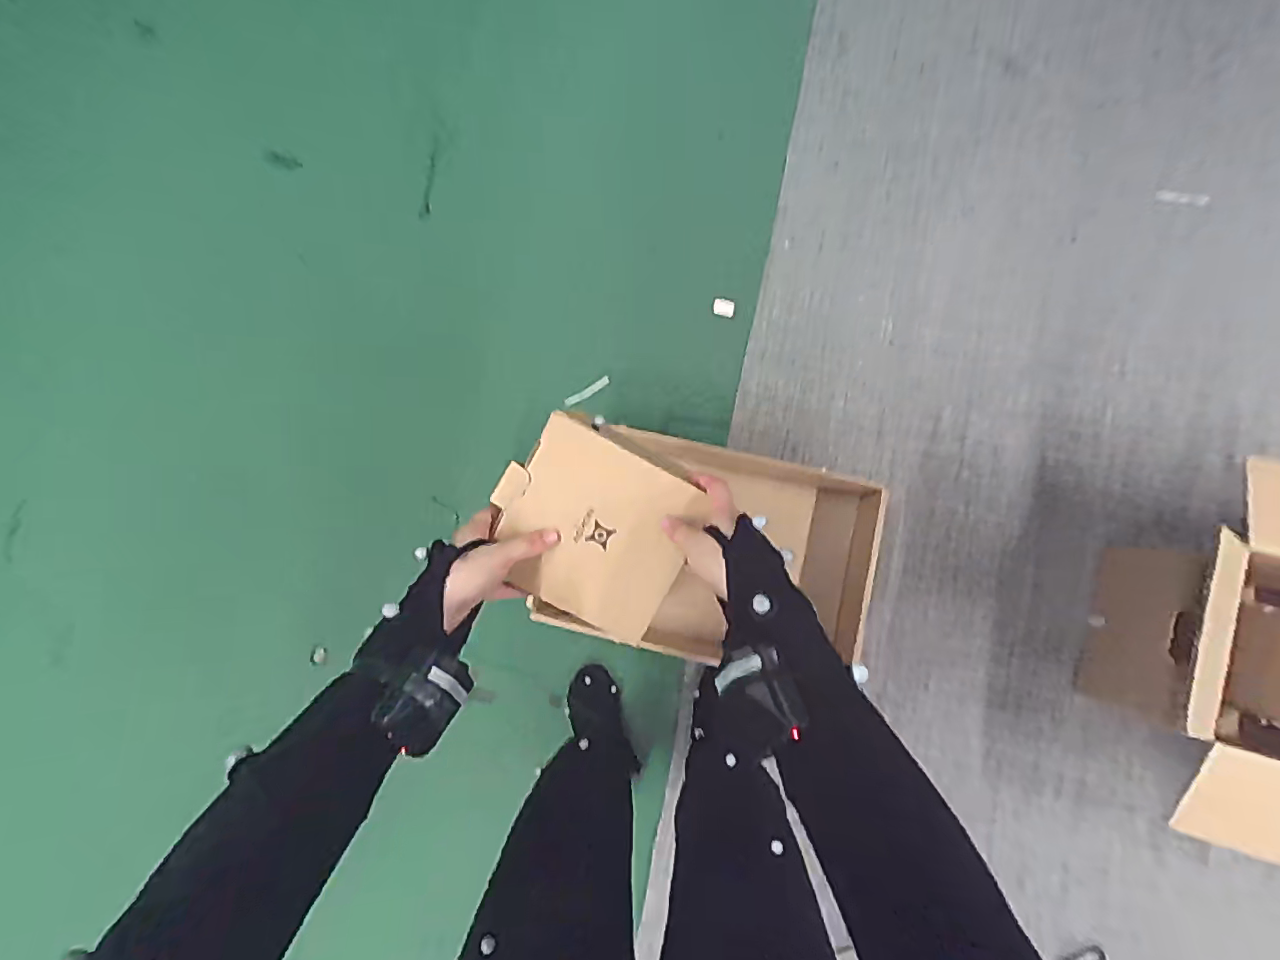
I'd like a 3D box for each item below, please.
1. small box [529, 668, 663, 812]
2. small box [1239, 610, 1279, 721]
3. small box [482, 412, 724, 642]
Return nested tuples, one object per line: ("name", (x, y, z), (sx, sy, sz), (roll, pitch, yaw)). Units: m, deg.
("small box", (-0.079, 0.503, 1.065), (0.176, 0.168, 0.179), (48, 60, -15))
("small box", (1.101, 0.319, 0.830), (0.168, 0.176, 0.179), (21, 85, 4))
("small box", (-0.034, 0.035, 0.580), (0.179, 0.176, 0.168), (28, 96, -3))
